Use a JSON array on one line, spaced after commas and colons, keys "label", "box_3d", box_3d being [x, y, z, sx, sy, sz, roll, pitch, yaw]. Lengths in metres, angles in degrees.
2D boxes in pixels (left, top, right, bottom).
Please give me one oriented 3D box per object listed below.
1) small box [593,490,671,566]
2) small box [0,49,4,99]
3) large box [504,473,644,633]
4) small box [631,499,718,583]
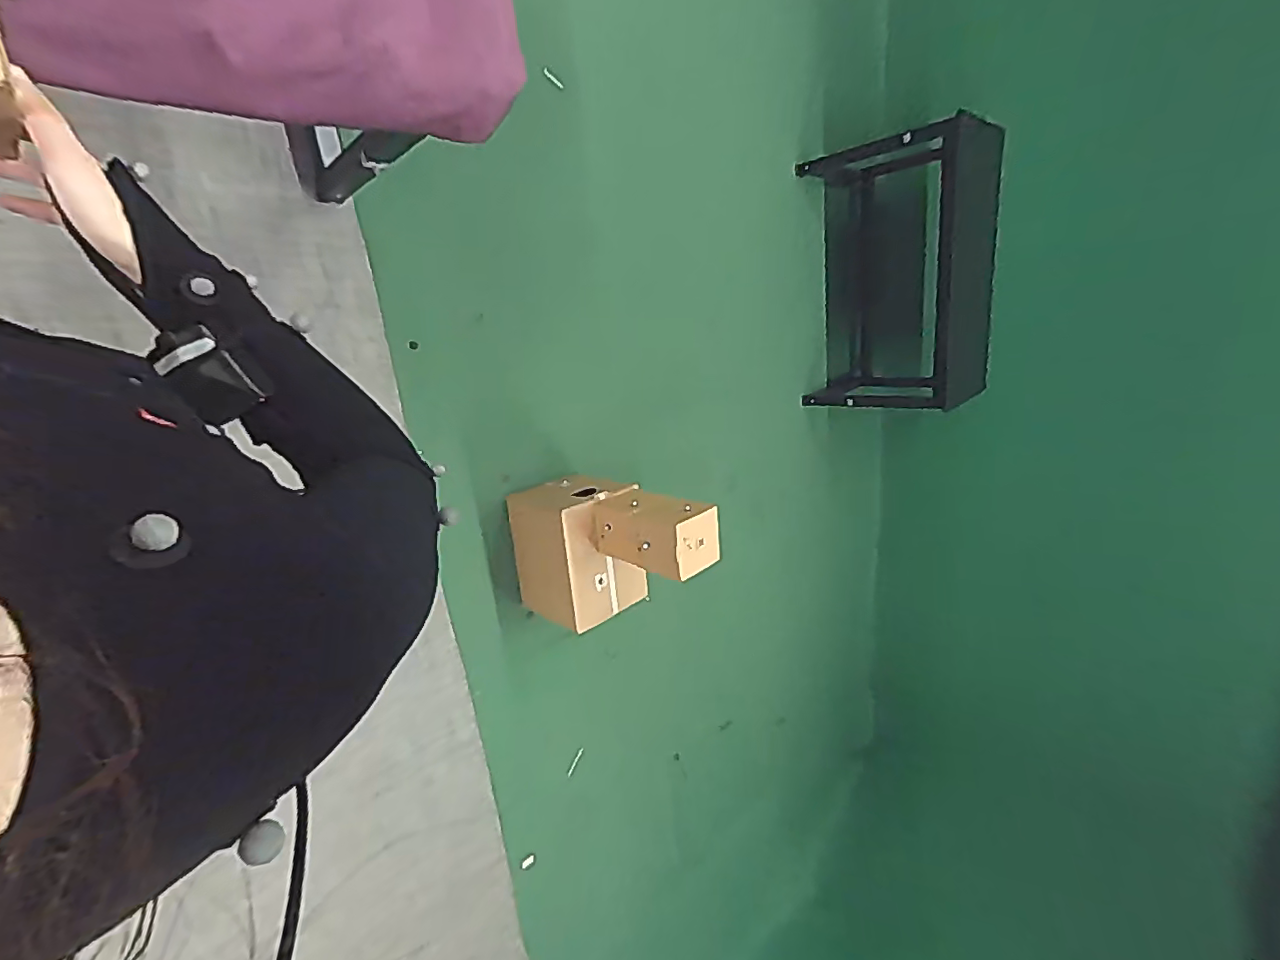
[{"label": "small box", "box_3d": [-0.018, 0.137, 1.626, 0.179, 0.176, 0.168, -19, 111, -42]}, {"label": "small box", "box_3d": [-0.435, -0.272, 0.238, 0.179, 0.176, 0.168, -17, 111, -46]}, {"label": "large box", "box_3d": [-0.216, 0.219, 1.790, 0.320, 0.320, 0.408, -19, 111, -41]}, {"label": "small box", "box_3d": [0.096, 0.162, 1.510, 0.179, 0.176, 0.168, -20, 111, -41]}]
